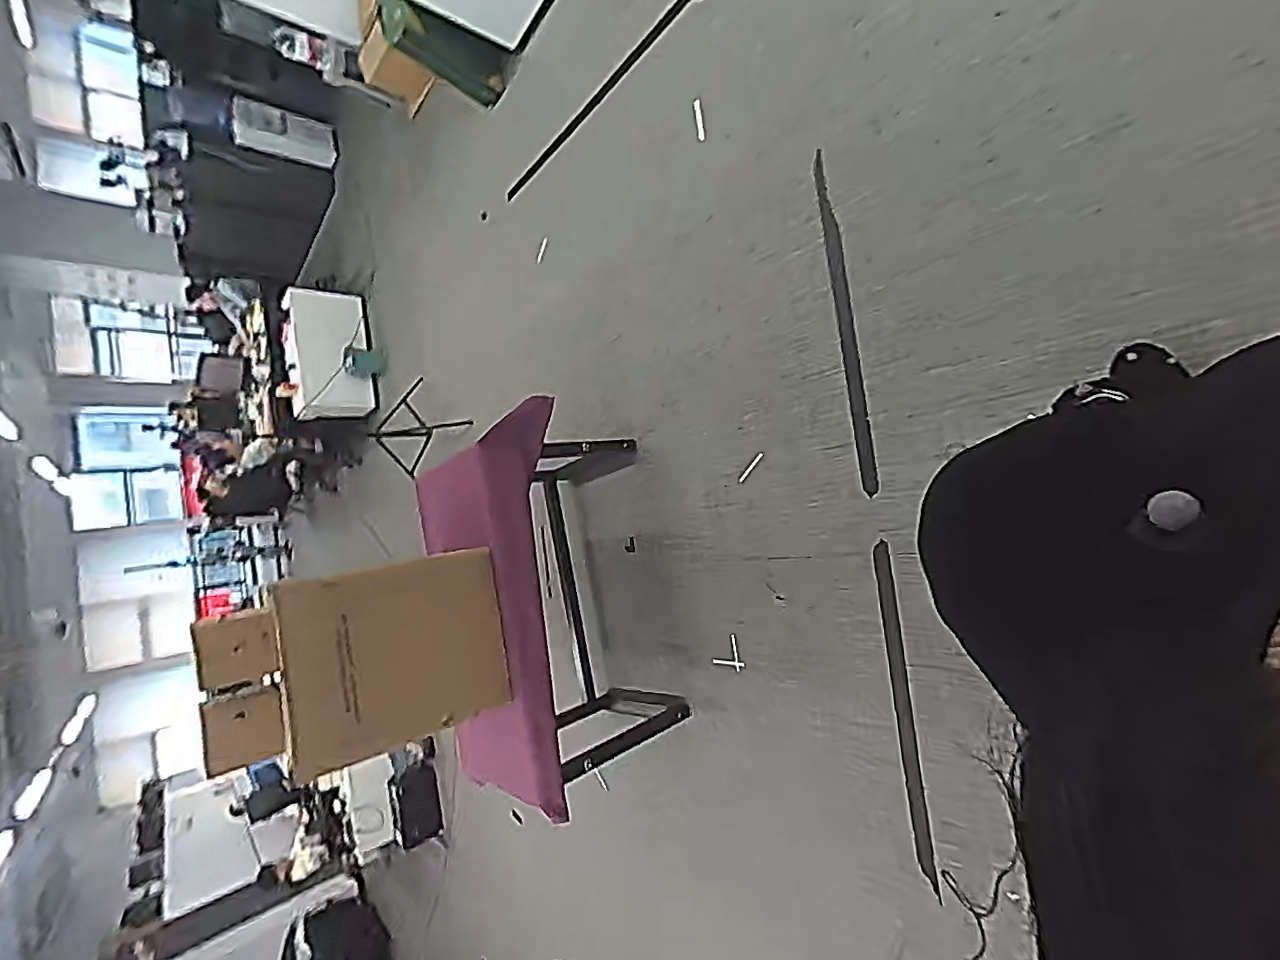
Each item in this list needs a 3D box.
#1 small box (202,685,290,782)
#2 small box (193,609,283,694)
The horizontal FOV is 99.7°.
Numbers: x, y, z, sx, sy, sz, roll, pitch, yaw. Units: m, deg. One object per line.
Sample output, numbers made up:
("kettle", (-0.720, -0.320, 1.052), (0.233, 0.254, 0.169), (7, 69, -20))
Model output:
("small box", (-1.059, 0.669, 1.452), (0.168, 0.176, 0.179), (-15, 84, 49))
("small box", (-1.060, 0.444, 1.429), (0.179, 0.176, 0.168), (-11, 87, 48))
